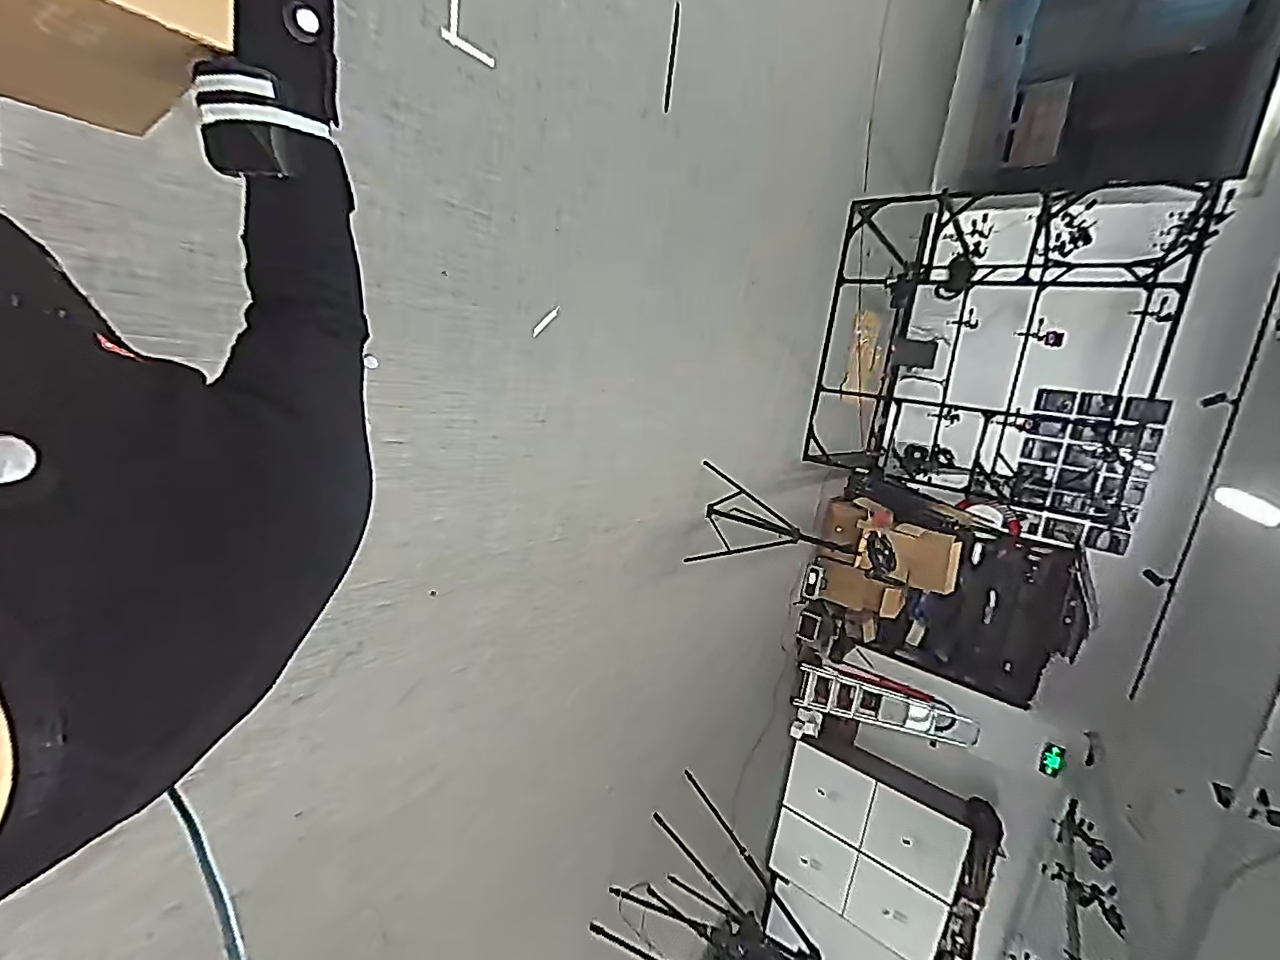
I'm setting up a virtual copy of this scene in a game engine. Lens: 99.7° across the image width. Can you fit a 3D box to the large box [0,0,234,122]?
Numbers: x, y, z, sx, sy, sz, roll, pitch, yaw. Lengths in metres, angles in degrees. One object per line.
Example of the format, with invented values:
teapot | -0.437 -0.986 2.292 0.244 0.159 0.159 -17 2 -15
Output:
large box | -0.500 -0.452 0.270 0.408 0.320 0.320 -8 109 -51
